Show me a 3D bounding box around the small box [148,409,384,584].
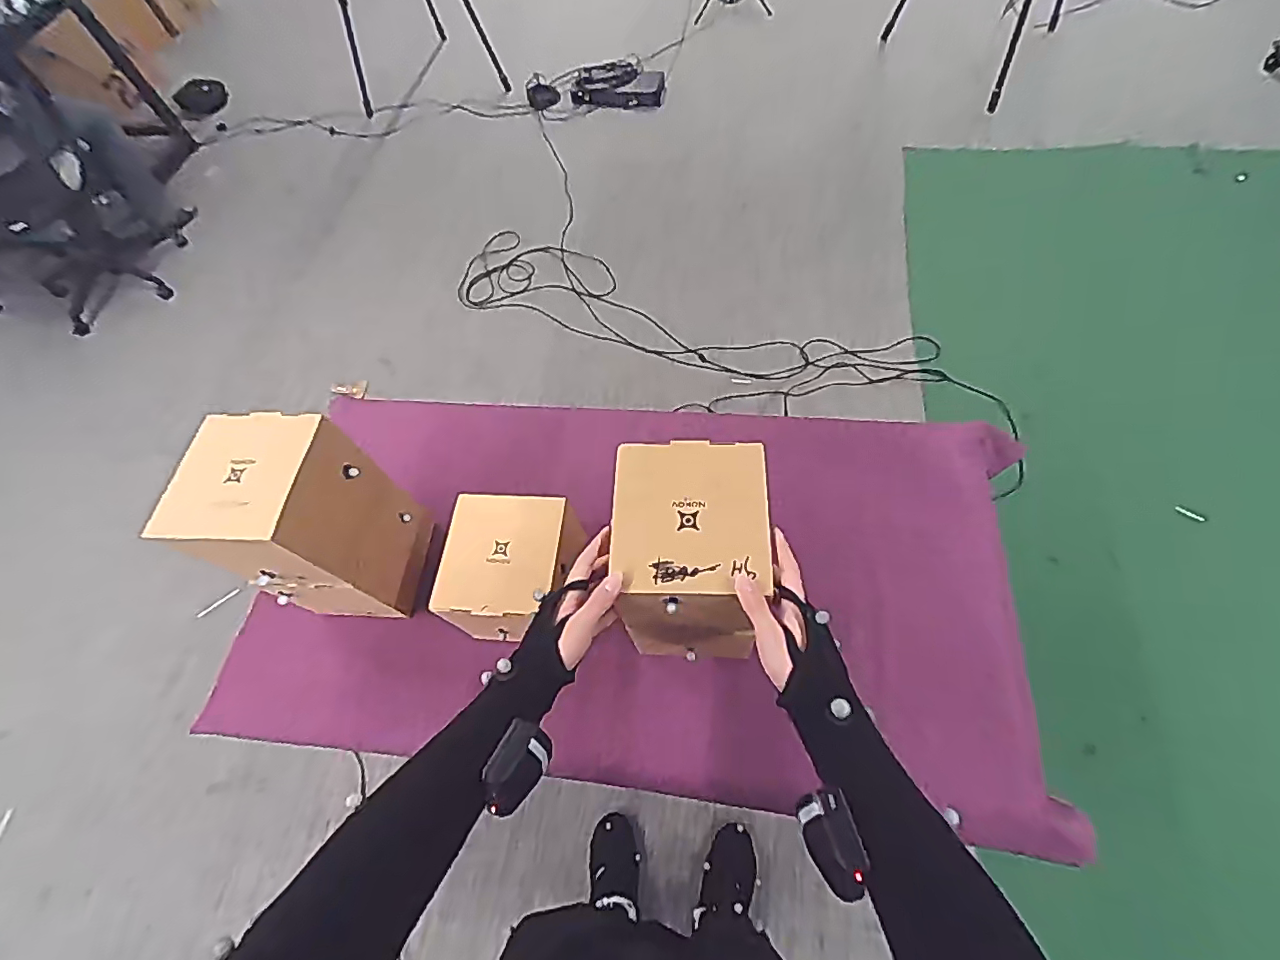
[{"bbox_3d":[-0.474,0.025,0.722,0.168,0.176,0.179,2,62,7],"label":"small box"}]

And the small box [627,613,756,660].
[{"bbox_3d":[0.077,0.152,0.786,0.168,0.176,0.179,1,62,7],"label":"small box"}]

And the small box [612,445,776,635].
[{"bbox_3d":[0.064,0.075,0.641,0.168,0.176,0.179,0,63,6],"label":"small box"}]

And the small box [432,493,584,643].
[{"bbox_3d":[-0.185,0.137,0.823,0.168,0.176,0.179,2,63,7],"label":"small box"}]
